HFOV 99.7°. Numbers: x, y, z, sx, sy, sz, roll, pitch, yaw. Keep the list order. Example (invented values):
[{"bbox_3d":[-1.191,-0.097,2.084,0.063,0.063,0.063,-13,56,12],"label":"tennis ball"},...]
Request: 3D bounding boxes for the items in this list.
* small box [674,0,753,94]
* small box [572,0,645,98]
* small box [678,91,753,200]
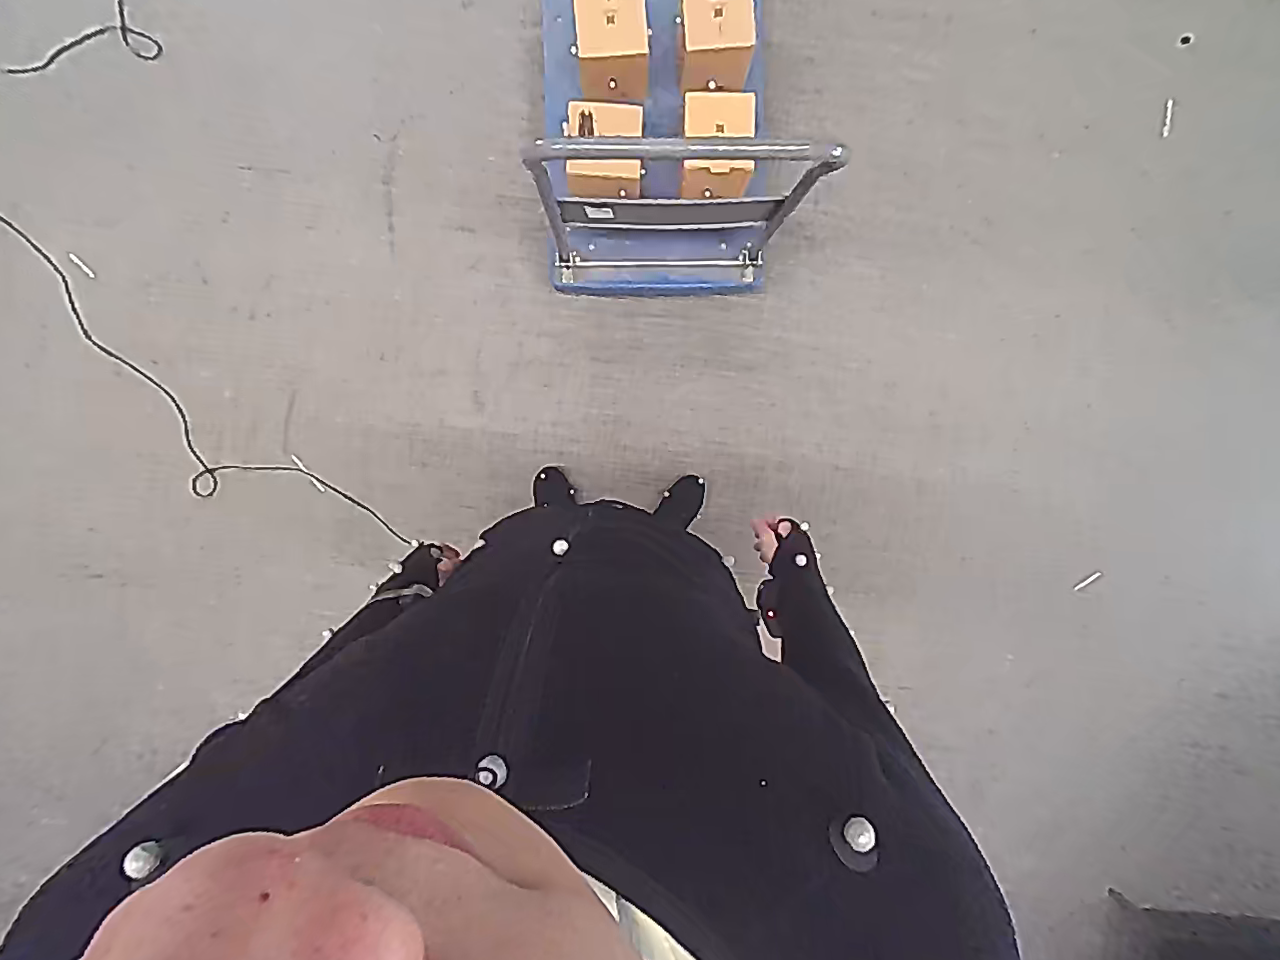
[{"bbox_3d":[0.177,-1.103,1.341,0.168,0.176,0.179,-5,94,0],"label":"small box"},{"bbox_3d":[-0.074,-1.080,1.339,0.168,0.176,0.179,-5,93,-2],"label":"small box"},{"bbox_3d":[0.183,-0.833,1.358,0.168,0.176,0.179,0,94,-1],"label":"small box"}]
